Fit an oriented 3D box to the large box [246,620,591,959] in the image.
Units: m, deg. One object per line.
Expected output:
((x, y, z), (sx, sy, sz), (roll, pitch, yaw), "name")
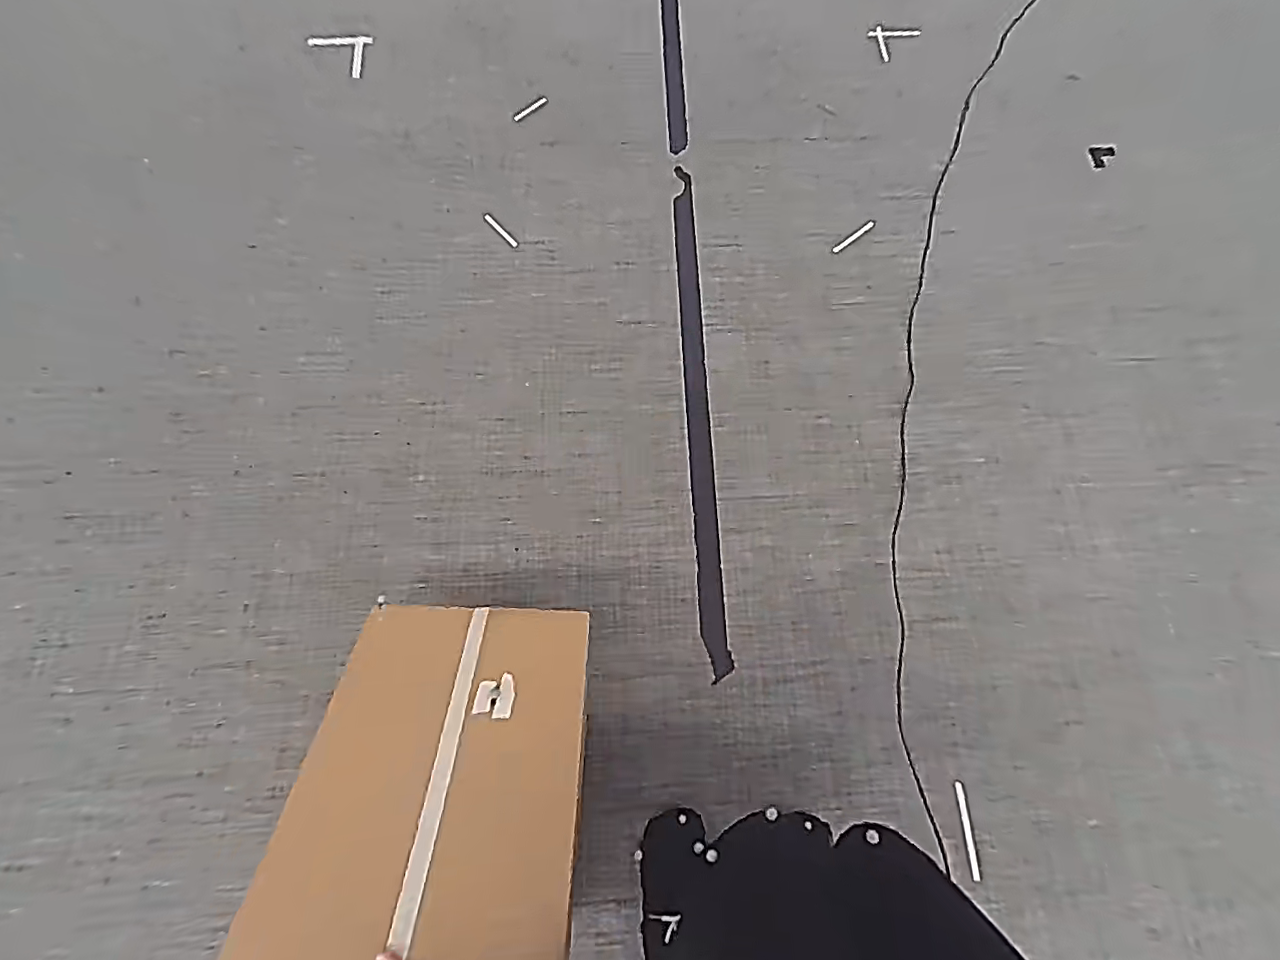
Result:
((-0.230, 0.454, 0.745), (0.320, 0.320, 0.408), (2, 40, -3), "large box")
